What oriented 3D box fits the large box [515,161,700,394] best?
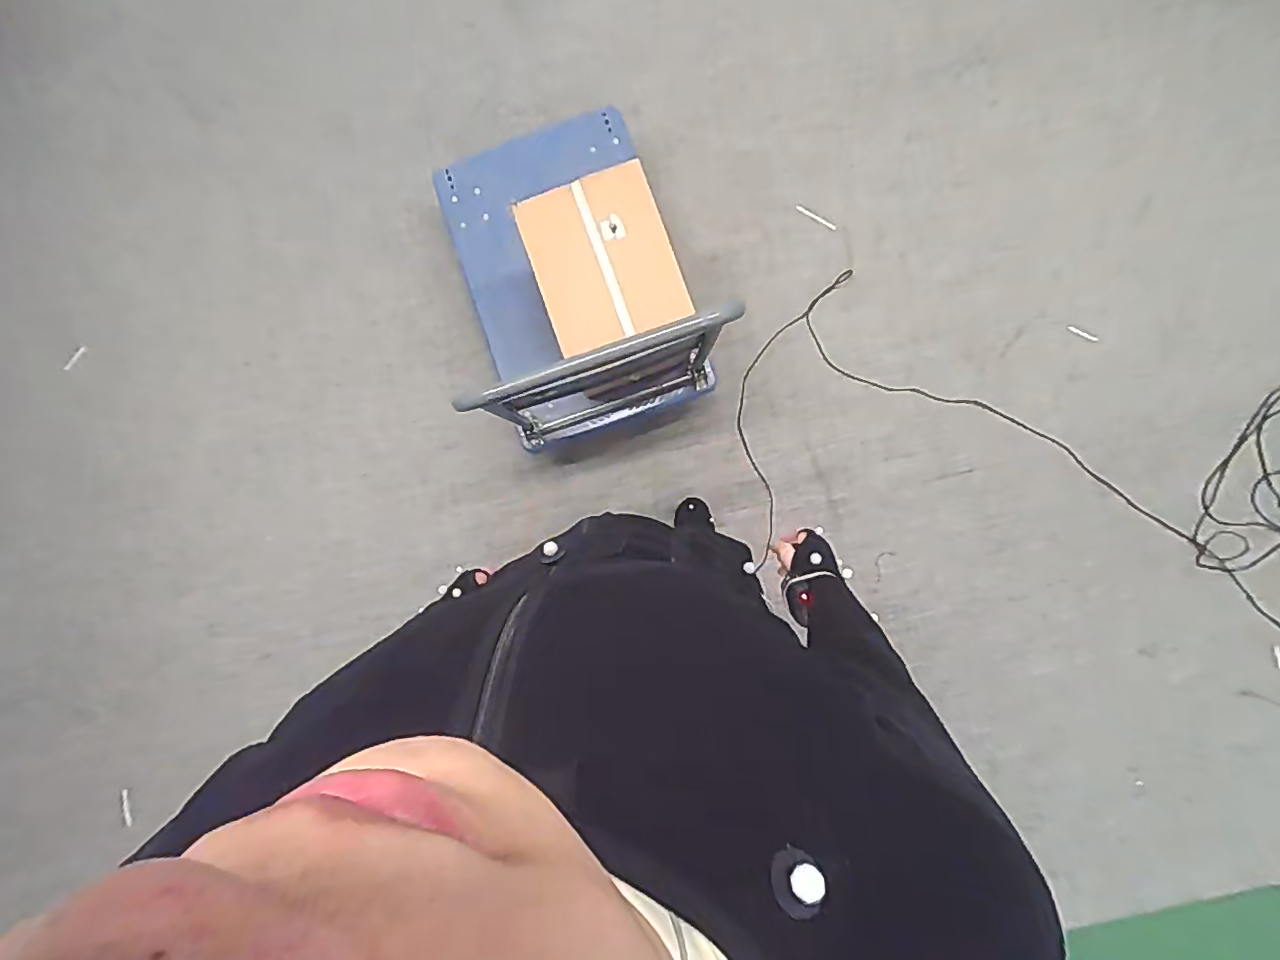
[{"bbox_3d":[-0.068,-0.482,1.367,0.320,0.320,0.408,-20,86,0],"label":"large box"}]
